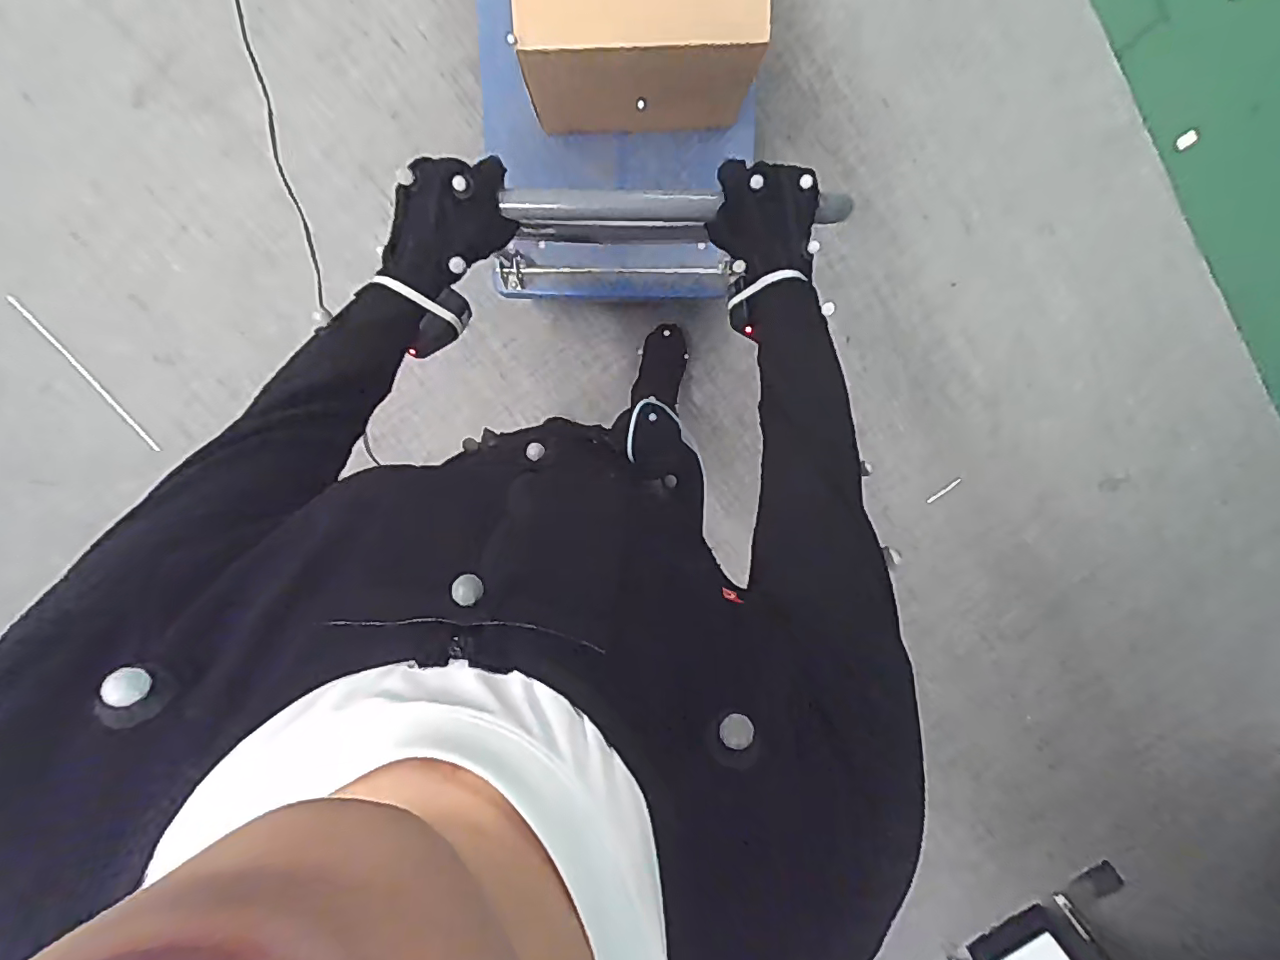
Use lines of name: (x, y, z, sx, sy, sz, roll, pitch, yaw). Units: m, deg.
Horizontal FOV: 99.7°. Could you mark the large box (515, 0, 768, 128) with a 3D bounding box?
large box: (-0.005, -0.875, 0.975, 0.408, 0.320, 0.320, -3, 102, -1)
